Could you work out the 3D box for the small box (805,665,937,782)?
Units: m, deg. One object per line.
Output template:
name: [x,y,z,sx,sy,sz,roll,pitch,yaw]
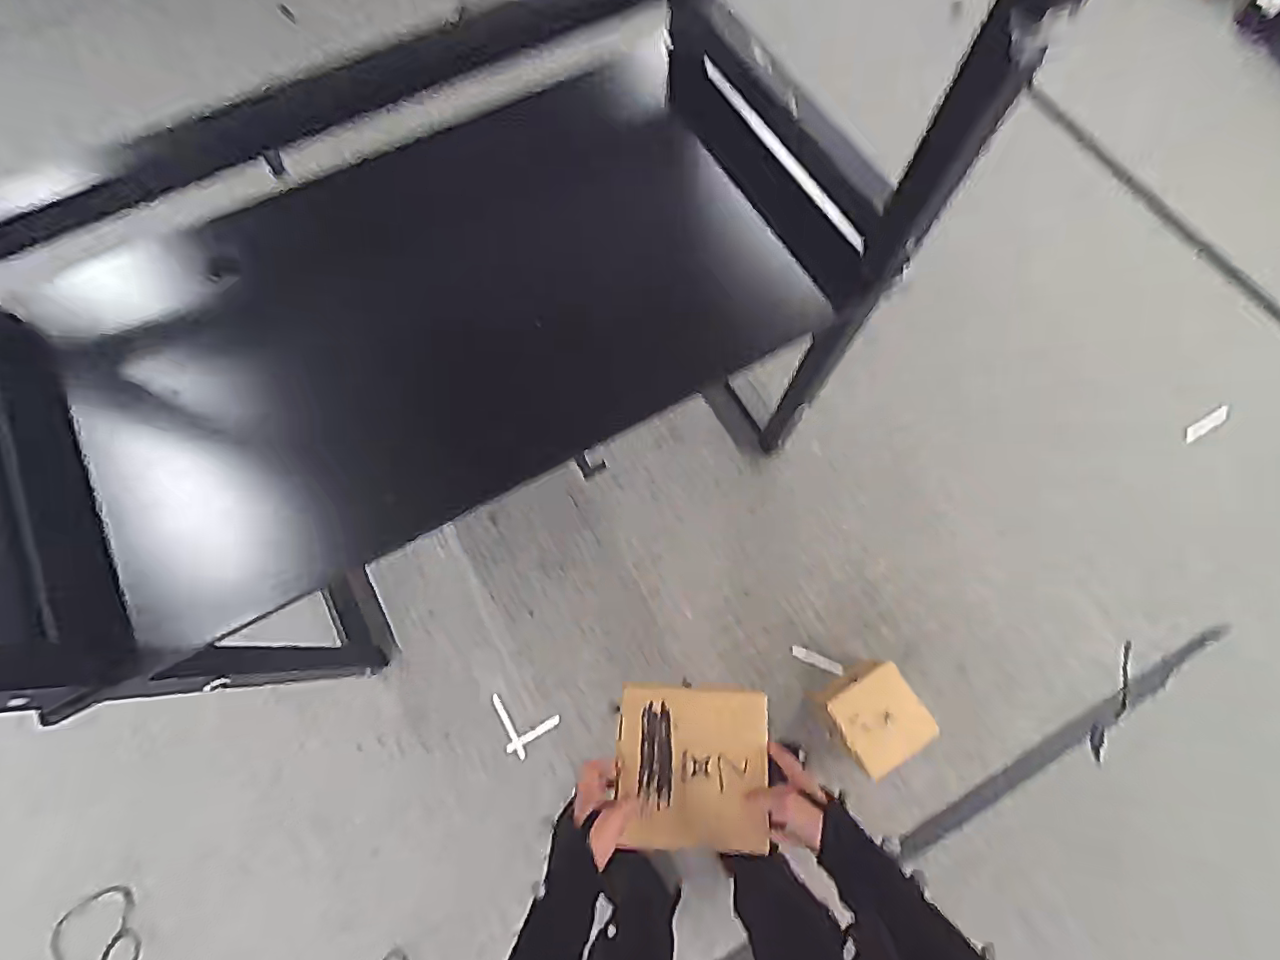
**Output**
small box: [0.496,0.523,1.190,0.179,0.176,0.168,-29,74,-8]
